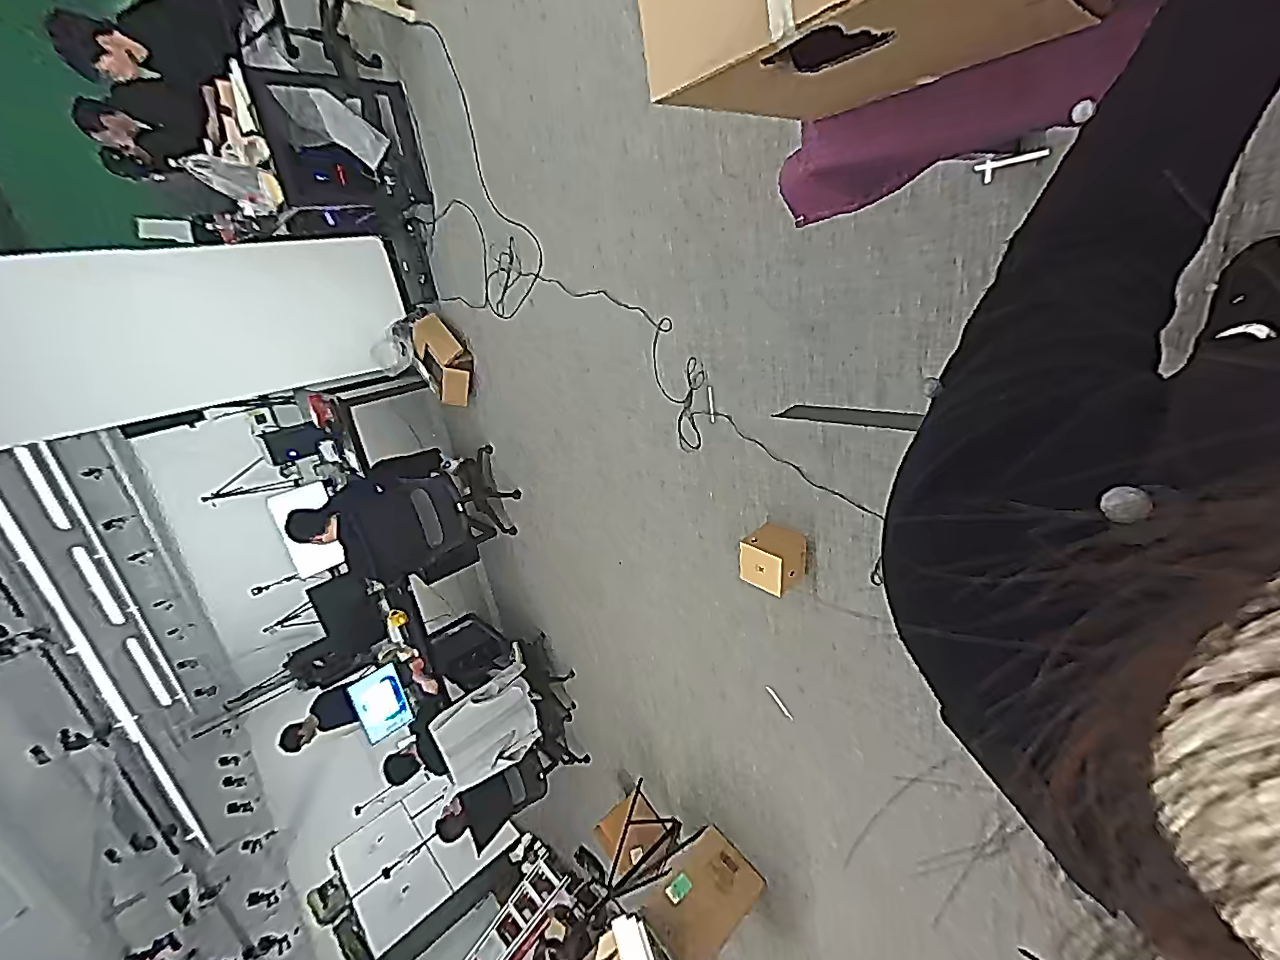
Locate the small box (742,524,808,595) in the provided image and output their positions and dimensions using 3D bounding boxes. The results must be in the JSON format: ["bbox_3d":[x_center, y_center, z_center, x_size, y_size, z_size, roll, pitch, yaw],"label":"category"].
[{"bbox_3d":[0.487,0.279,1.945,0.179,0.176,0.168,21,127,43],"label":"small box"}]
